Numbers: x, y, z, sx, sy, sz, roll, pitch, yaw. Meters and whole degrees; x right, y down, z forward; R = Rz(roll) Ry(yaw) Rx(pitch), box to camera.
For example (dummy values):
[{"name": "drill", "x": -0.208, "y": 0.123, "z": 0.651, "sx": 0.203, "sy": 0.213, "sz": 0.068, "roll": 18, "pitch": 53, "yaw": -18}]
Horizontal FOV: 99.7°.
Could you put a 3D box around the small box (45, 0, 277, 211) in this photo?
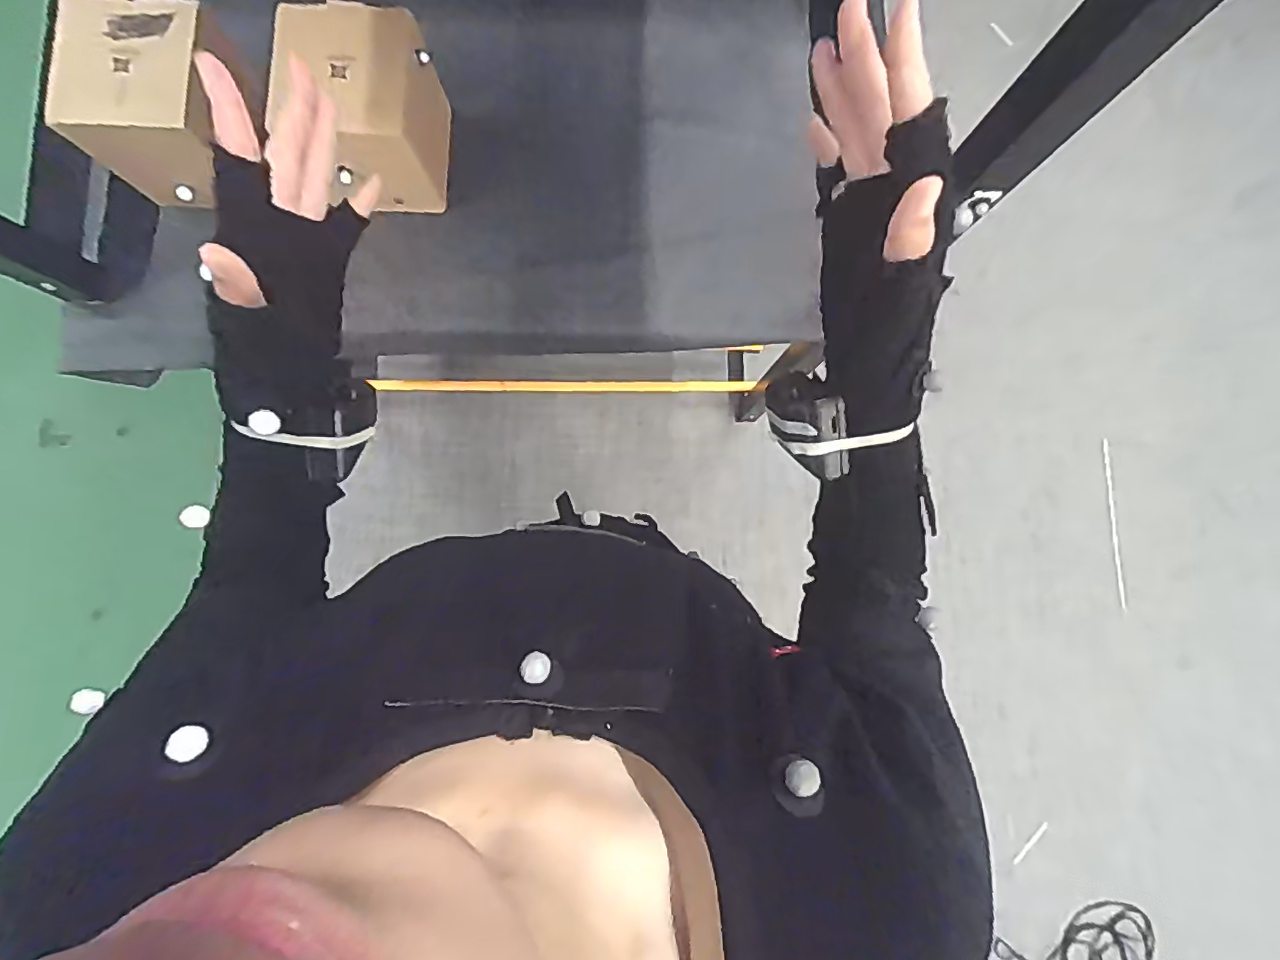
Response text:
[{"name": "small box", "x": -0.628, "y": -0.500, "z": 0.735, "sx": 0.168, "sy": 0.176, "sz": 0.179, "roll": 1, "pitch": 84, "yaw": -2}]

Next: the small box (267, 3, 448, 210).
[{"name": "small box", "x": -0.375, "y": -0.501, "z": 0.748, "sx": 0.168, "sy": 0.176, "sz": 0.179, "roll": 0, "pitch": 84, "yaw": -2}]
